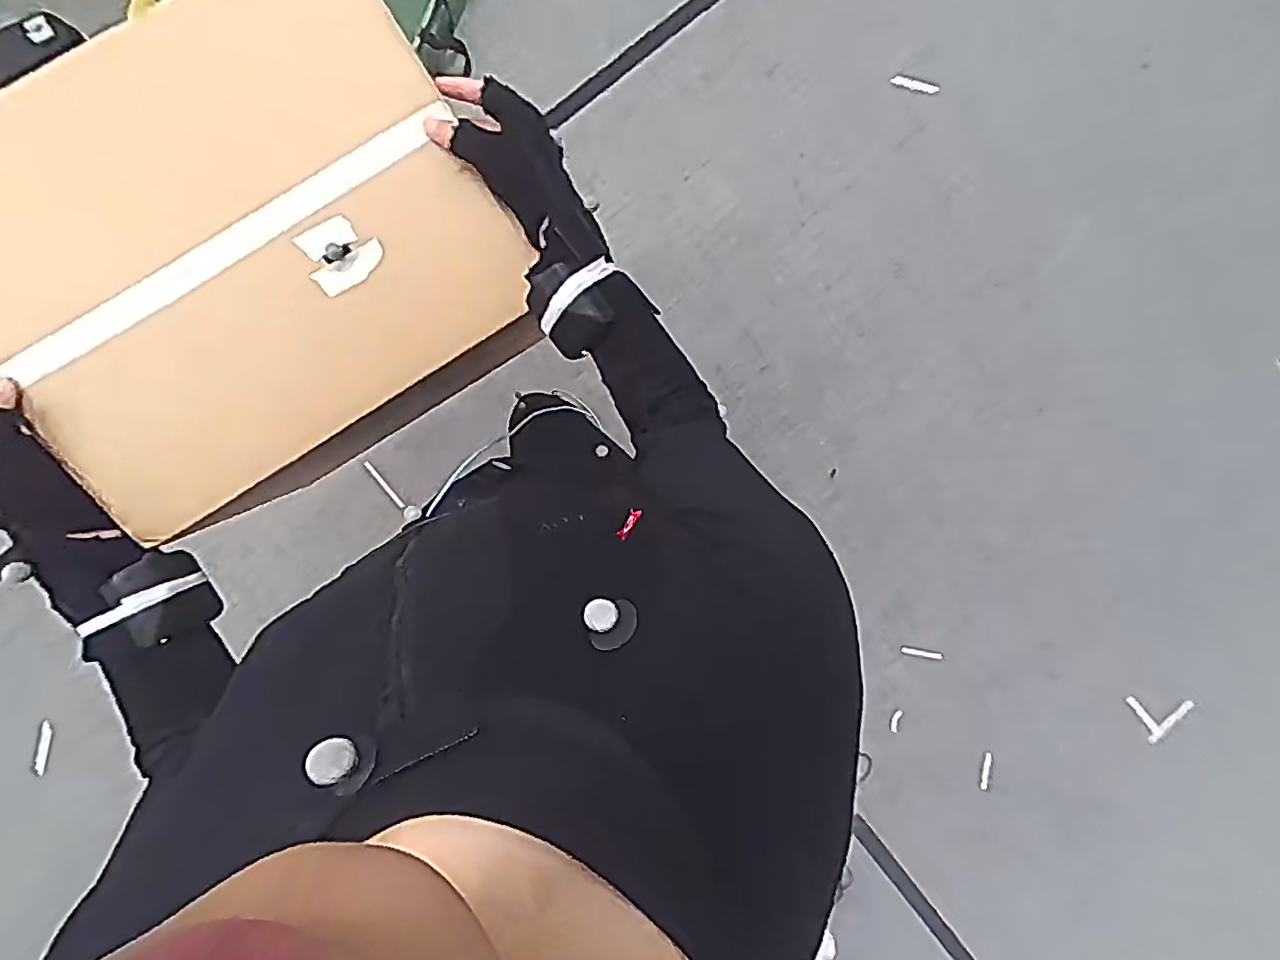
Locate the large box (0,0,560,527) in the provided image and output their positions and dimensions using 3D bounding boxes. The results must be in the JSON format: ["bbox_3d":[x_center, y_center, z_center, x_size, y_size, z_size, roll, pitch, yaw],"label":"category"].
[{"bbox_3d":[-0.340,-0.211,0.577,0.408,0.320,0.320,-34,104,-5],"label":"large box"}]
